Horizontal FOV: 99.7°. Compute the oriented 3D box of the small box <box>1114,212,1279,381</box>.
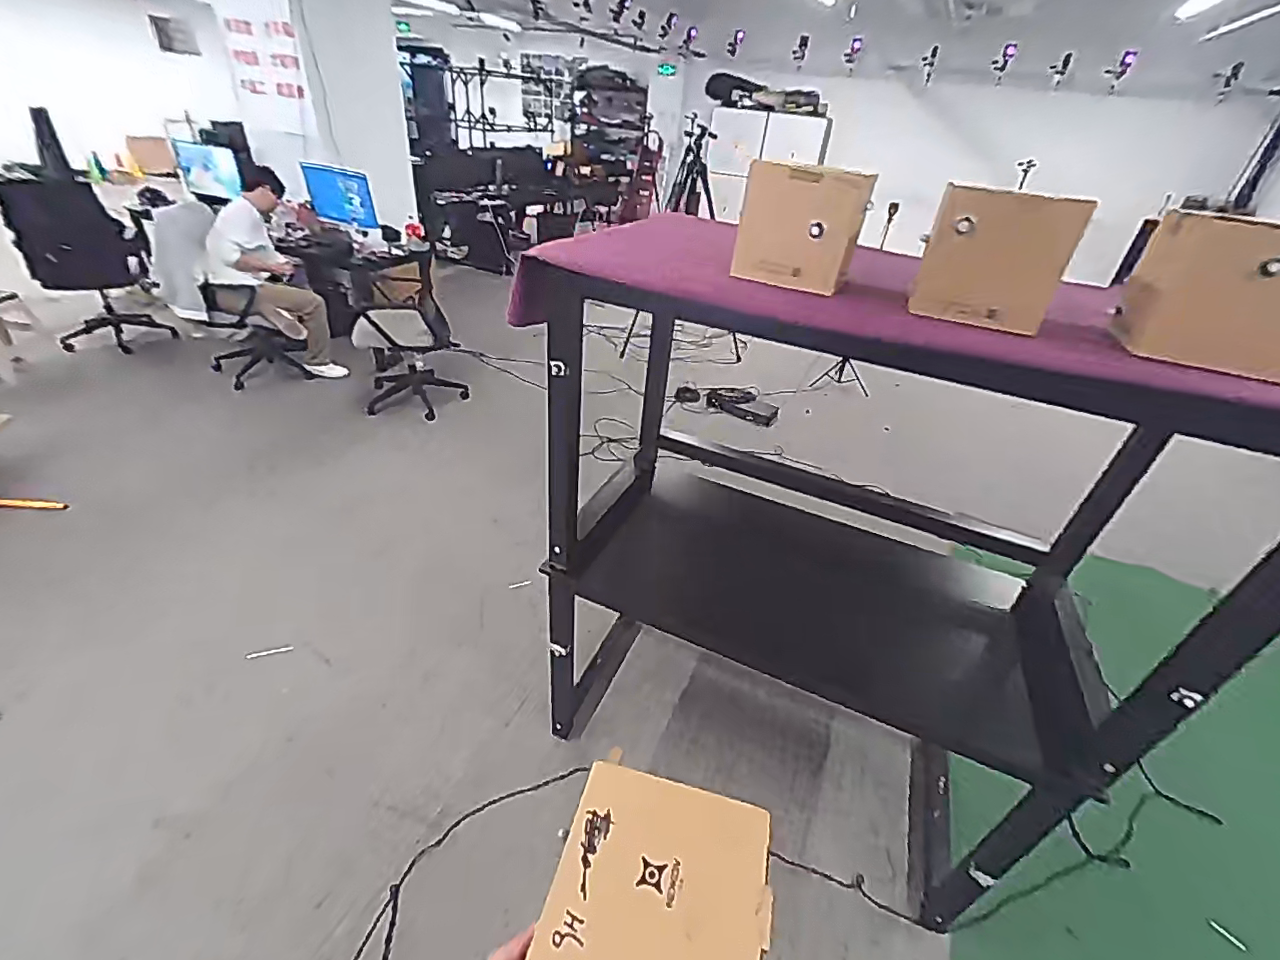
[{"bbox_3d":[0.764,-0.240,0.699,0.179,0.176,0.168,19,34,18],"label":"small box"}]

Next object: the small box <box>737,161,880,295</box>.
[{"bbox_3d":[0.265,-0.406,0.869,0.168,0.176,0.179,20,35,19],"label":"small box"}]
